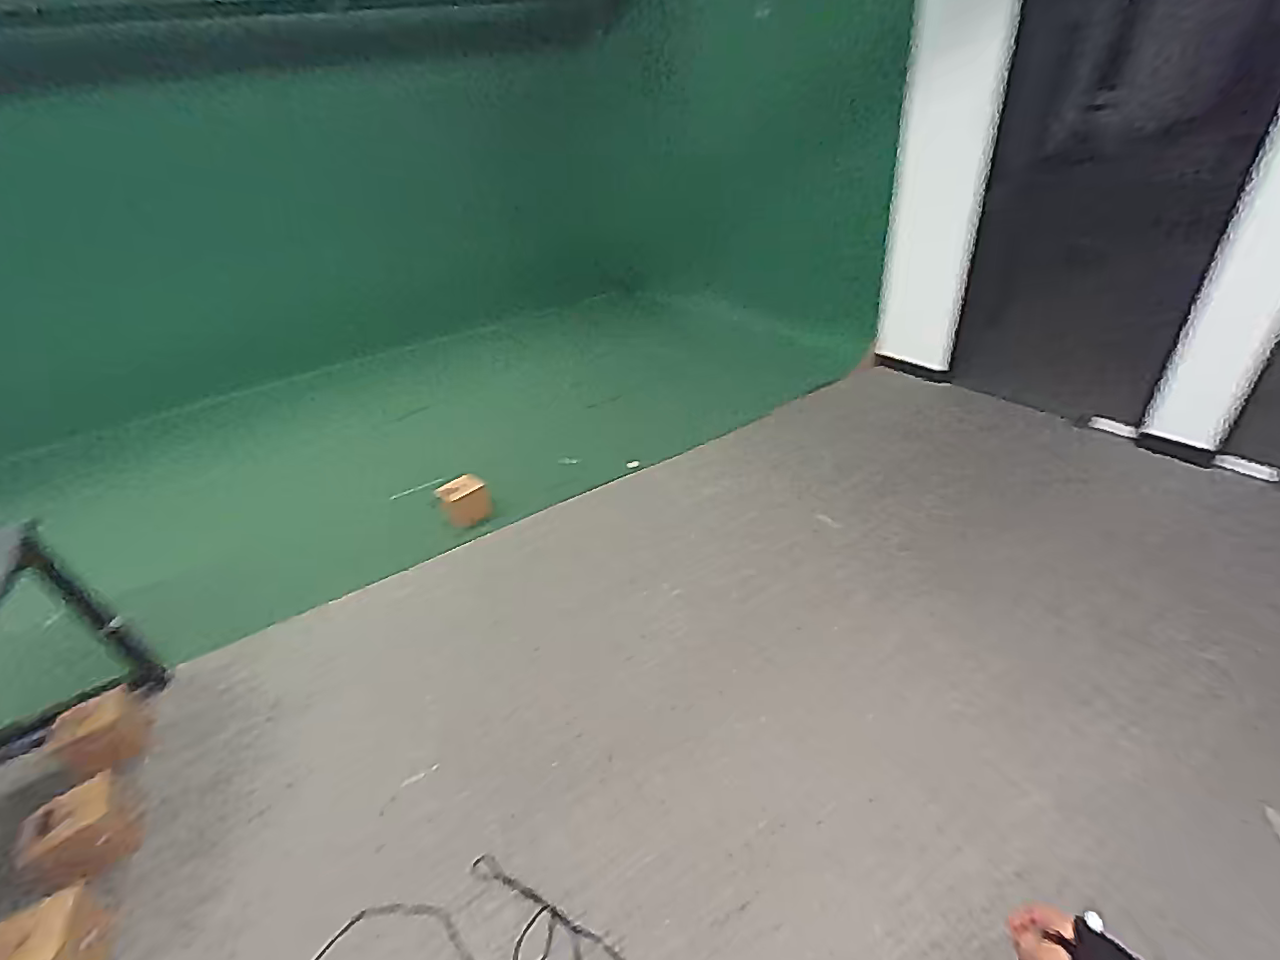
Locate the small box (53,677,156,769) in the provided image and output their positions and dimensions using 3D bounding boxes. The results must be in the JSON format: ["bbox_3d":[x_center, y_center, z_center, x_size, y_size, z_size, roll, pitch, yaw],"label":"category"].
[{"bbox_3d":[-1.737,0.794,1.768,0.179,0.176,0.168,-26,37,-25],"label":"small box"}]

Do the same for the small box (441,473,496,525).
[{"bbox_3d":[-0.826,0.094,2.624,0.168,0.176,0.179,25,44,38],"label":"small box"}]

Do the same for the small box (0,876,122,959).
[{"bbox_3d":[-1.383,1.088,1.267,0.179,0.176,0.168,-20,36,-18],"label":"small box"}]
